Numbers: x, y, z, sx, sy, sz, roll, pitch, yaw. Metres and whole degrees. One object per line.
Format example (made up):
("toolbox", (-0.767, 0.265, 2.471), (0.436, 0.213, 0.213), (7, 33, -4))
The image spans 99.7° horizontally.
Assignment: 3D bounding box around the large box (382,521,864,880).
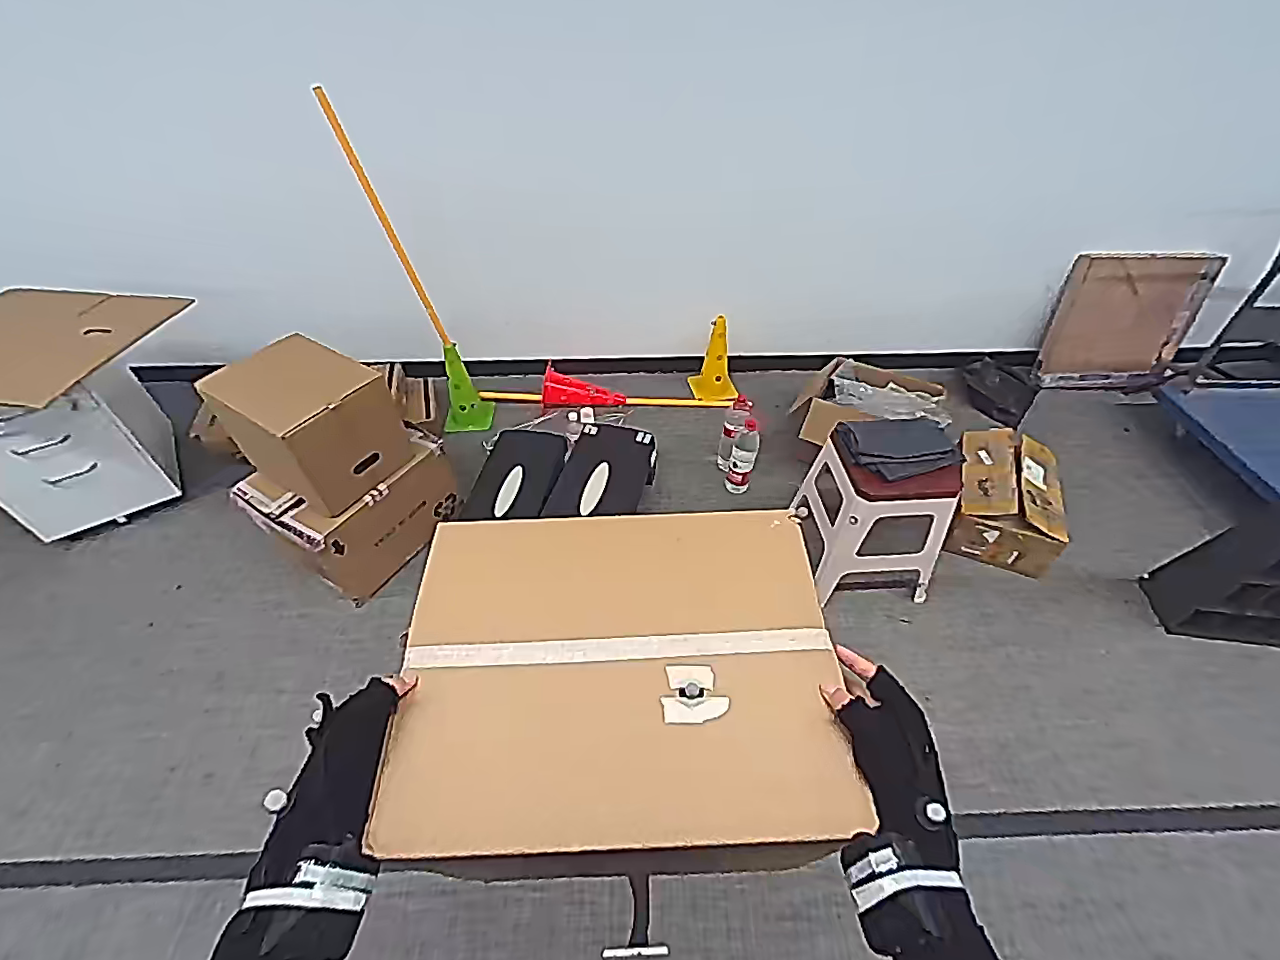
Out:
("large box", (-0.018, 0.268, 0.646), (0.408, 0.320, 0.320), (-2, 51, -1))
